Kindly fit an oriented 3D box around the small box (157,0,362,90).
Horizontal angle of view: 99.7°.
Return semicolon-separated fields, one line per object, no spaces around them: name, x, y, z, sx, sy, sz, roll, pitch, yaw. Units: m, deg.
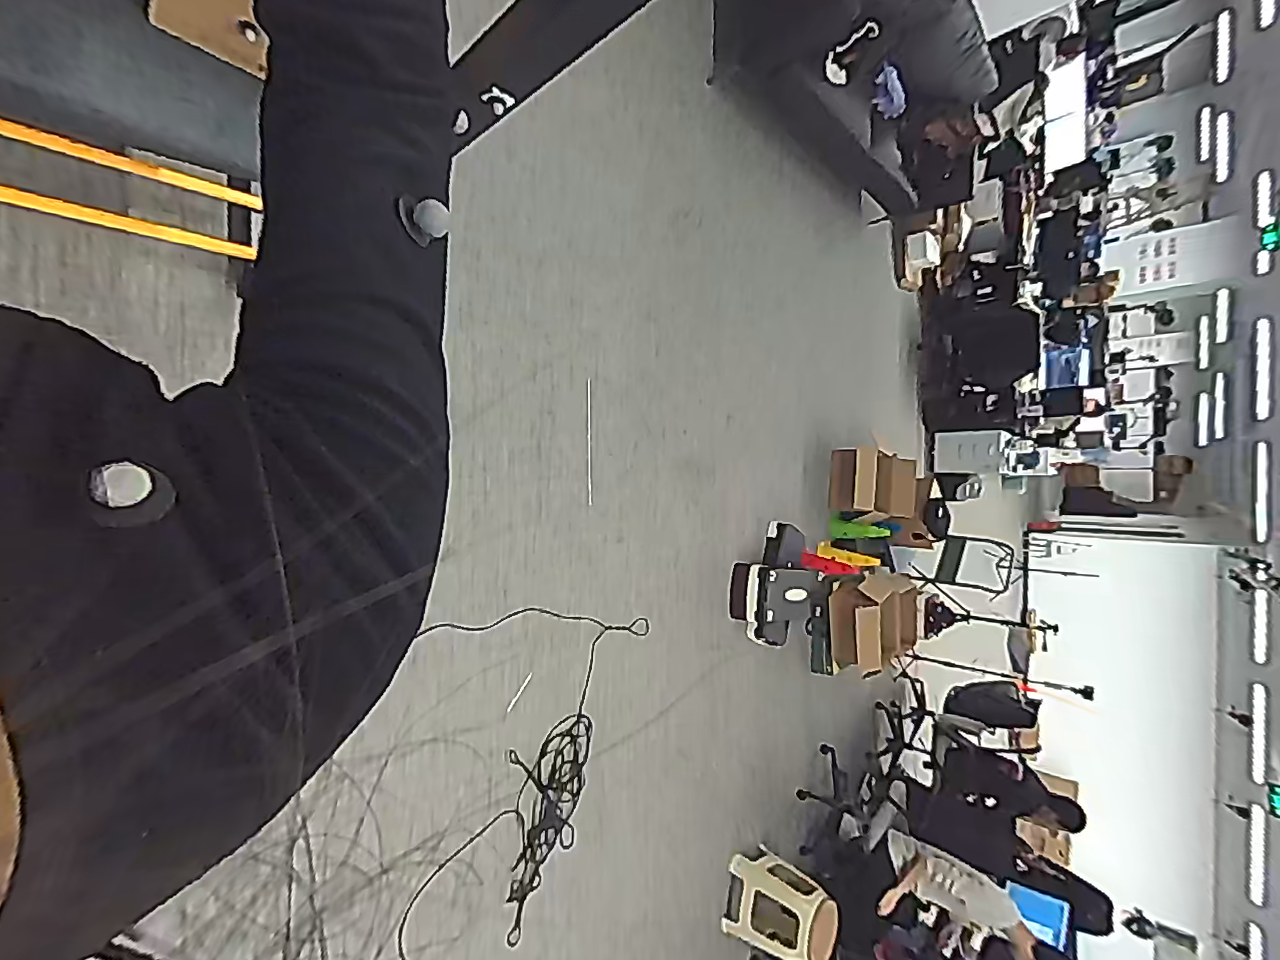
small box;-0.420;-0.586;0.595;0.168;0.176;0.179;4;87;-48
